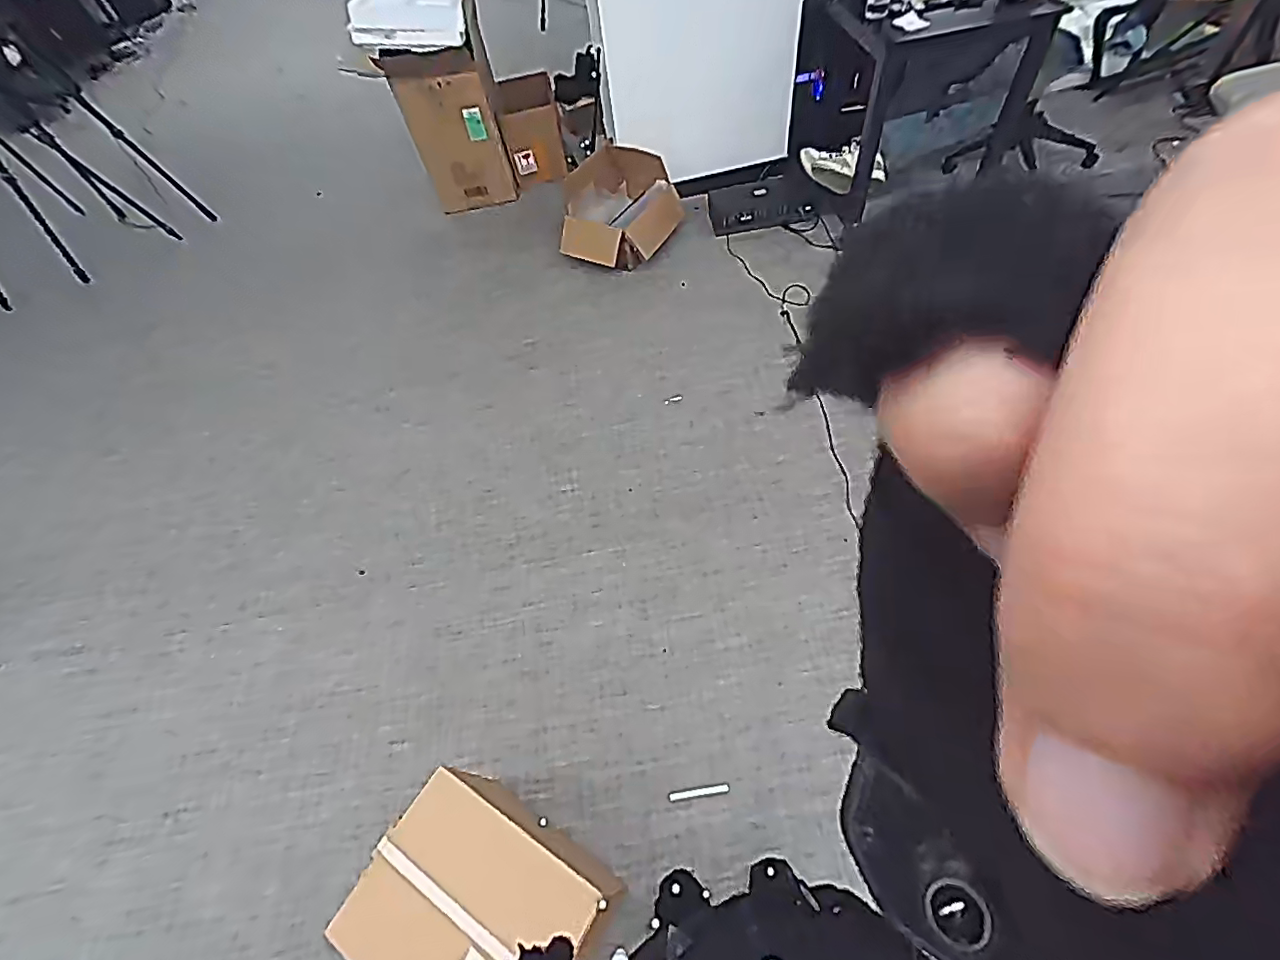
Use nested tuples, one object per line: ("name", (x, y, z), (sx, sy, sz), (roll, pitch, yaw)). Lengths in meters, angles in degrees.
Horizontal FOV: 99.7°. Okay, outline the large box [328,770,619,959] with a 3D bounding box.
("large box", (-0.301, 0.853, 1.084), (0.408, 0.320, 0.320), (24, 63, 21))
